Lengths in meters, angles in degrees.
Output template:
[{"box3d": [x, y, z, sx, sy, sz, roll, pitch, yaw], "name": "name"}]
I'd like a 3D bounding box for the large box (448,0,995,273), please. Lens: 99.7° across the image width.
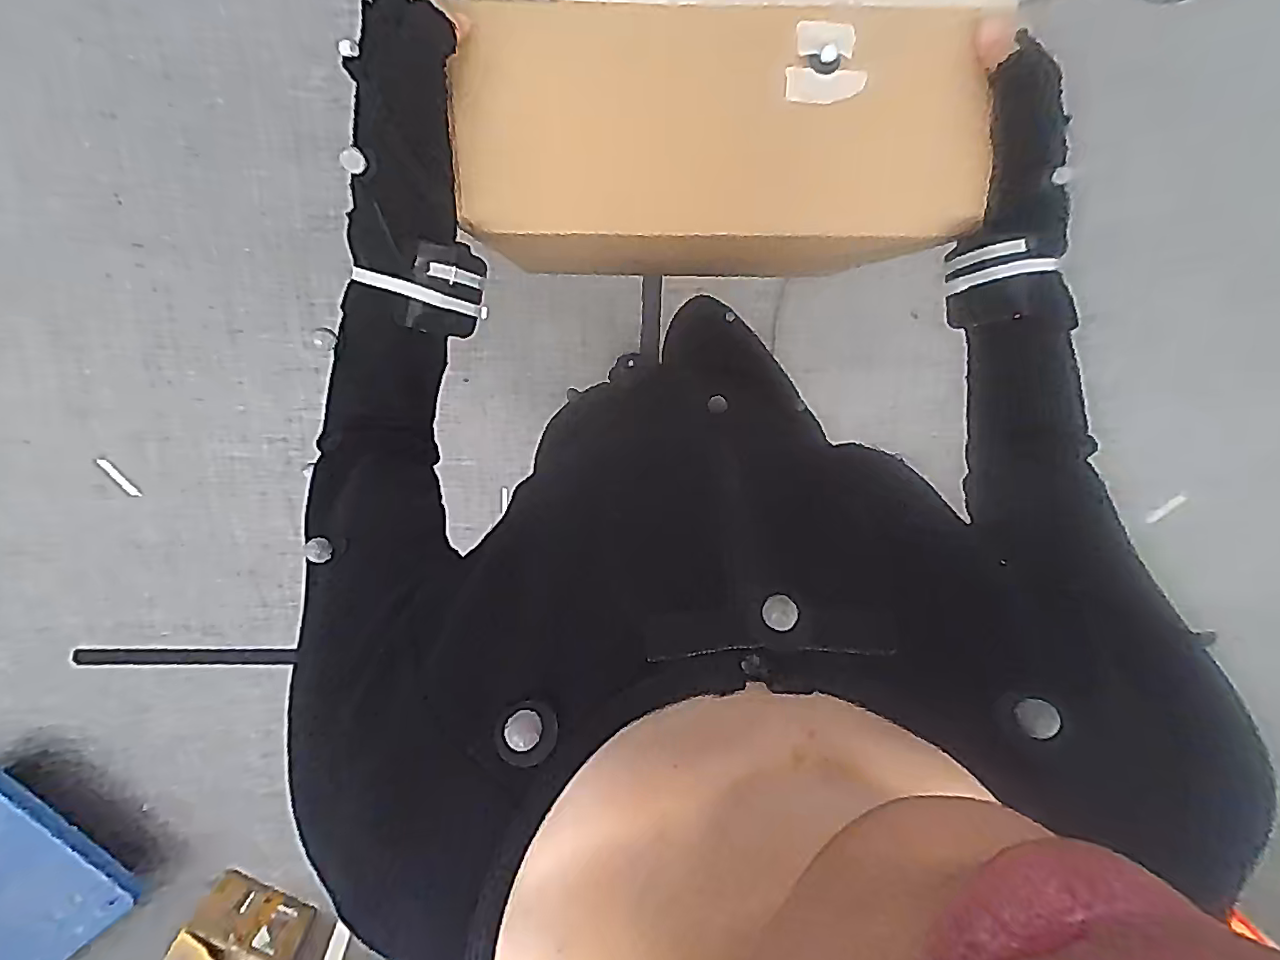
[{"box3d": [0.053, -0.388, 0.529, 0.408, 0.320, 0.320, -1, 105, -3], "name": "large box"}]
